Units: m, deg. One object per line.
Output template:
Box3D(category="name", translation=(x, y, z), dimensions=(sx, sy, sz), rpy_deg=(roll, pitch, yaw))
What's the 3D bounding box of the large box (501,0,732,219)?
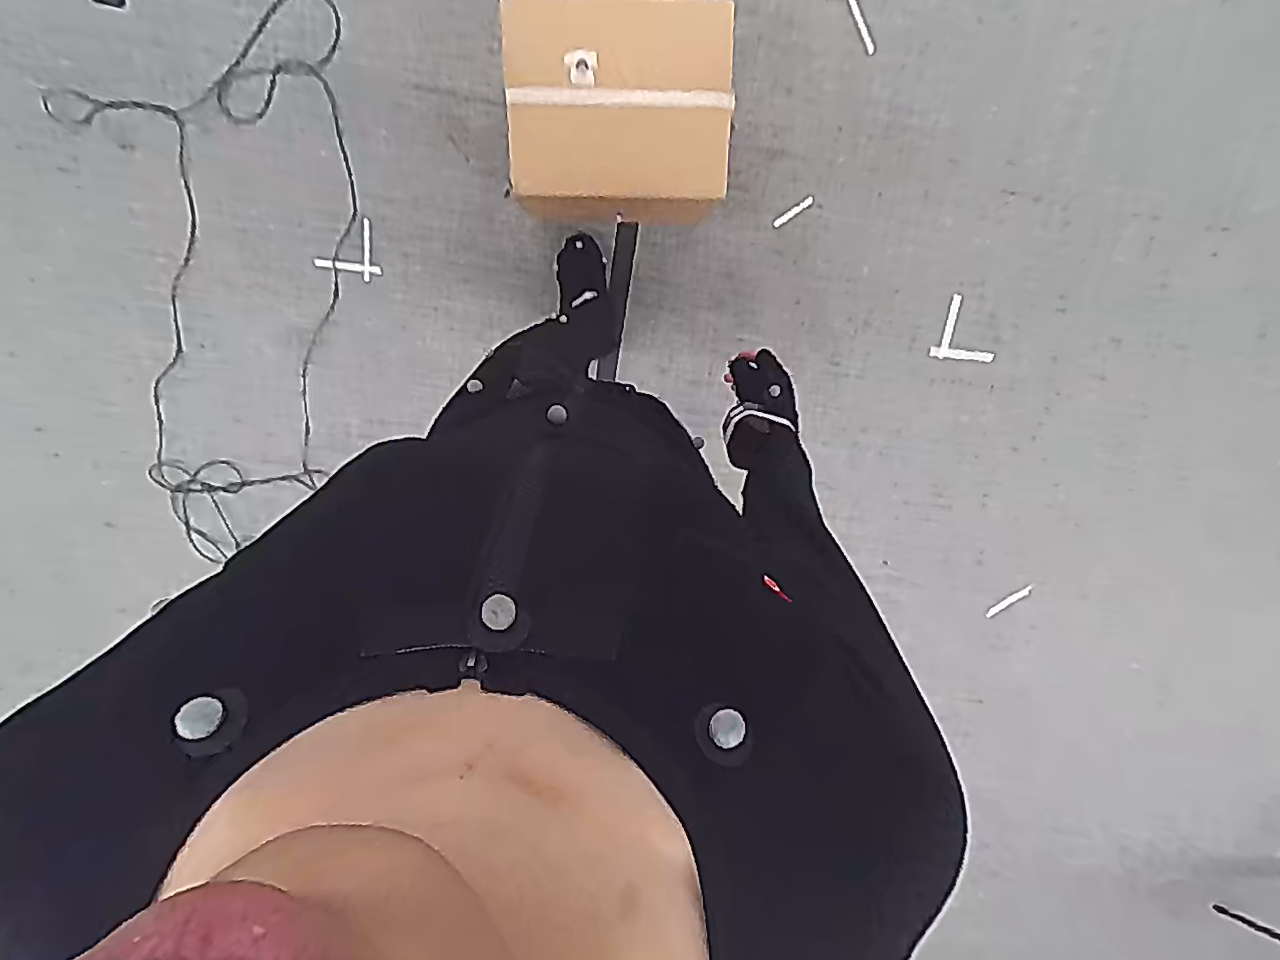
Box3D(category="large box", translation=(-0.042, -0.725, 1.110), dimensions=(0.408, 0.320, 0.320), rpy_deg=(0, 107, -2))
